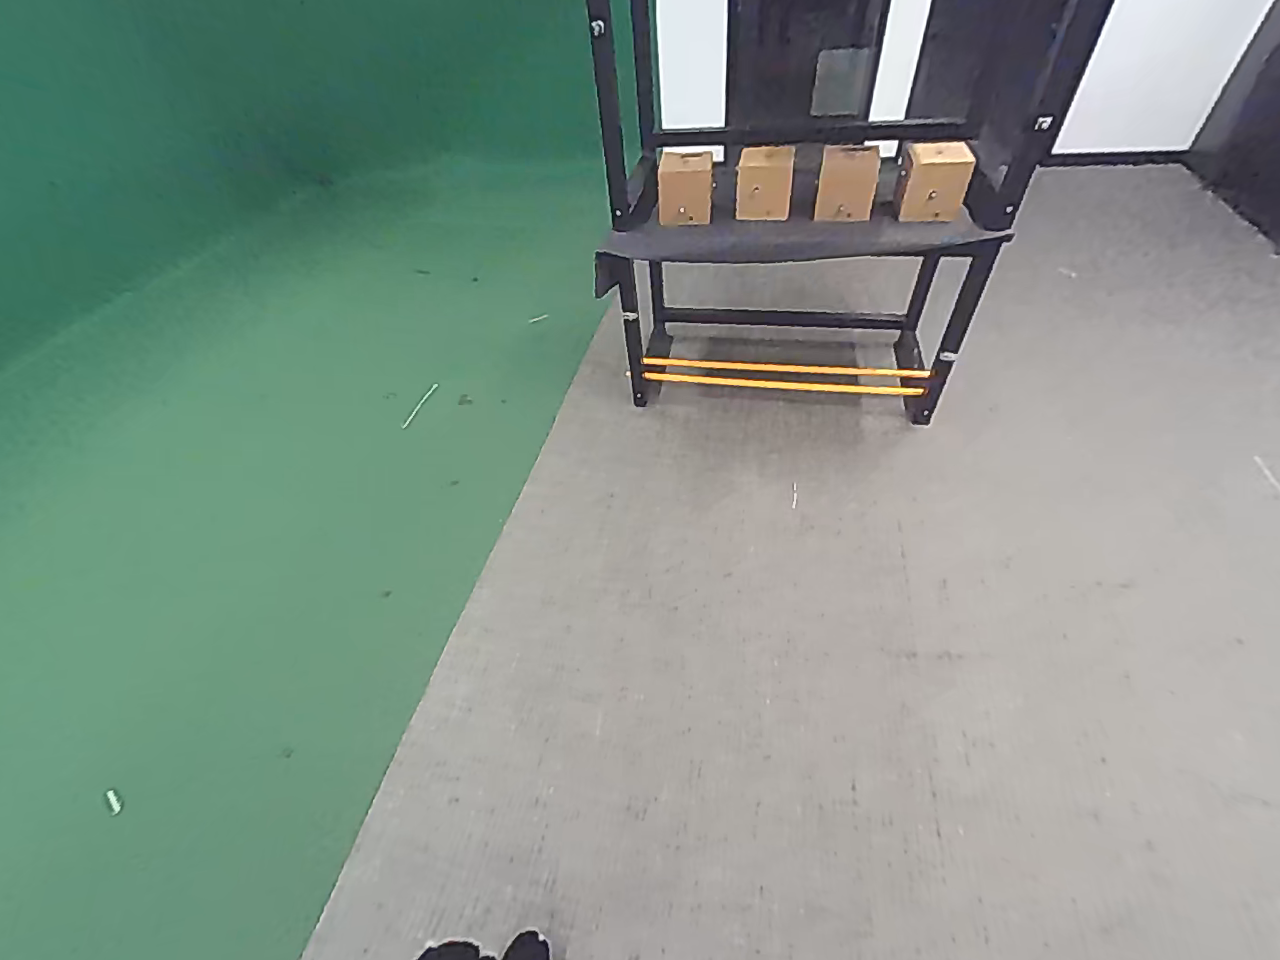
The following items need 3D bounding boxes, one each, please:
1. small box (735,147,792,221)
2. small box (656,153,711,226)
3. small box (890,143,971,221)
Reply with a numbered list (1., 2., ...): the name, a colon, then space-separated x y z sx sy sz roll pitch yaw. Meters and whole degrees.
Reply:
1. small box: 0.400 -0.960 1.760 0.168 0.176 0.179 6 48 11
2. small box: 0.147 -0.957 1.783 0.168 0.176 0.179 2 48 9
3. small box: 0.878 -0.906 1.649 0.168 0.176 0.179 5 47 11
